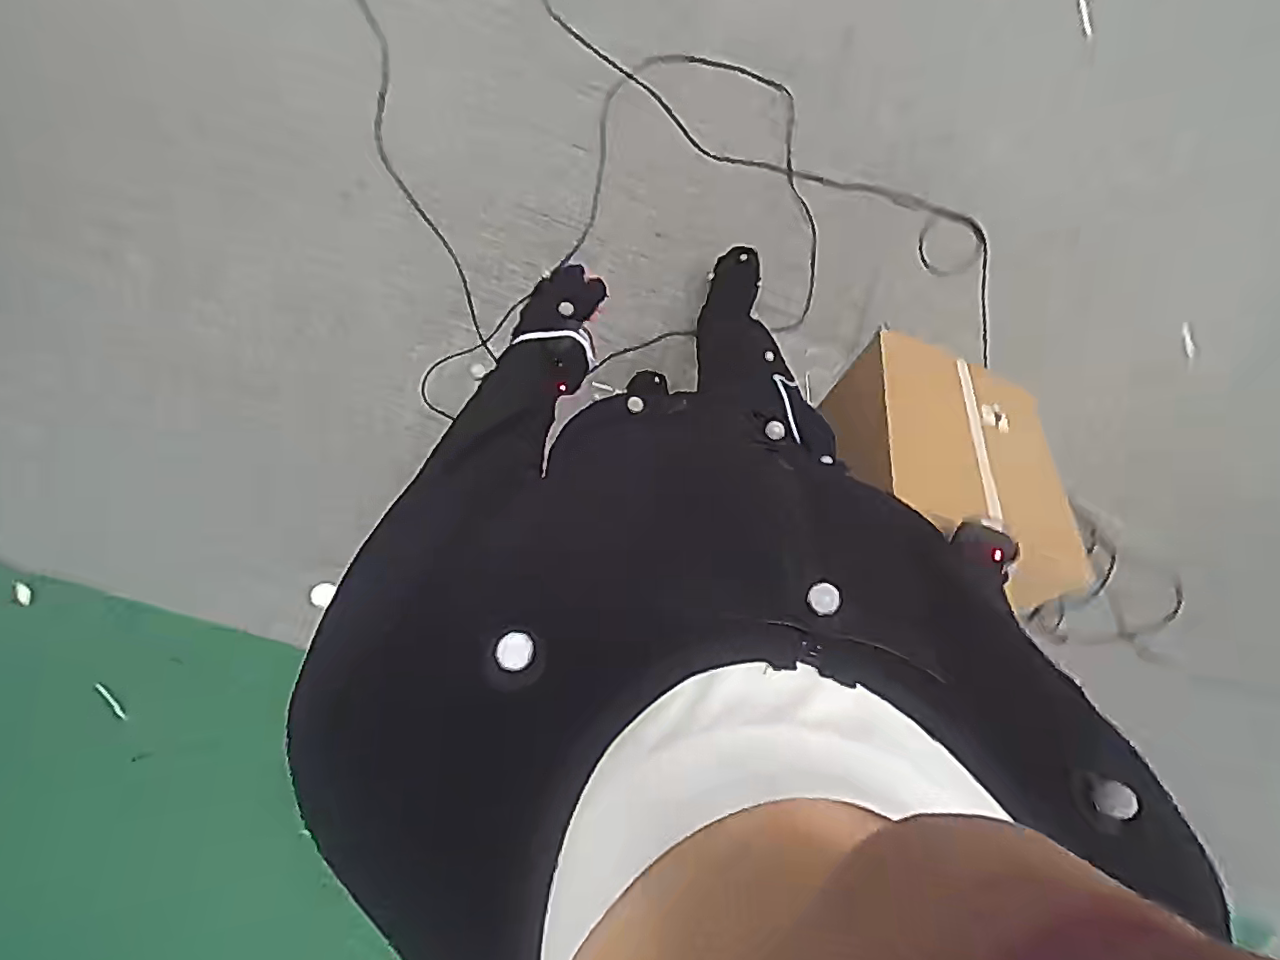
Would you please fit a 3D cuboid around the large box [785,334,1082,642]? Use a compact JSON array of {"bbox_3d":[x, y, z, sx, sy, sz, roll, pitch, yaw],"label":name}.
[{"bbox_3d":[0.478,0.018,0.982,0.320,0.408,0.320,22,140,-6],"label":"large box"}]
